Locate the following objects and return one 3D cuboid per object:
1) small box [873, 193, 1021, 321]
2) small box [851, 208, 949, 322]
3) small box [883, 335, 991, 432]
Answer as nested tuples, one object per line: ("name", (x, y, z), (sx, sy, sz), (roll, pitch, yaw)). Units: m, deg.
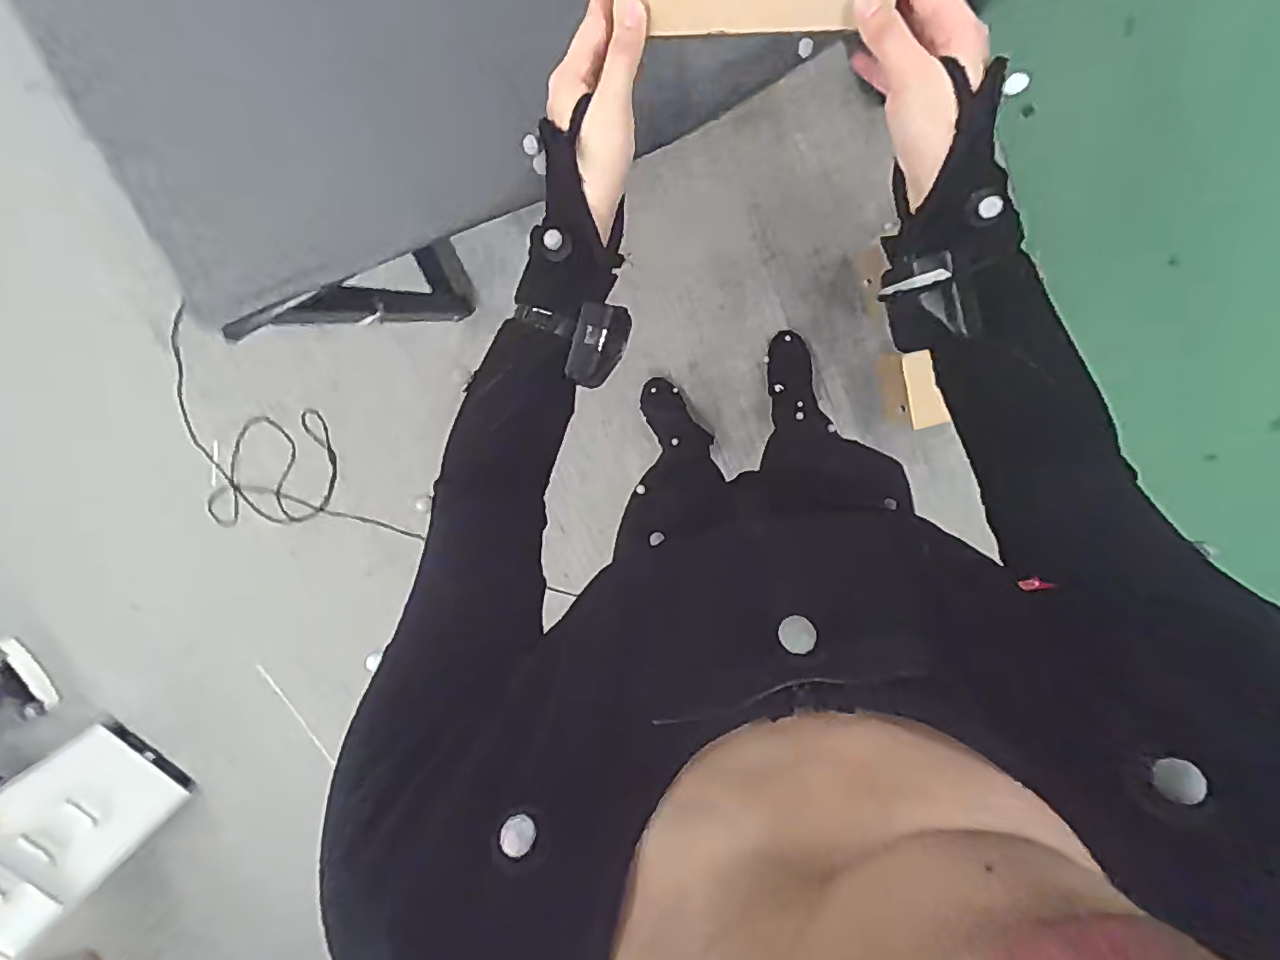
("small box", (0.584, -0.423, 1.047), (0.179, 0.176, 0.168), (-22, 104, 12))
("small box", (0.597, -0.470, 1.205), (0.168, 0.176, 0.179), (-24, 101, 12))
("small box", (0.688, -0.230, 1.265), (0.168, 0.176, 0.179), (-14, 105, 11))
